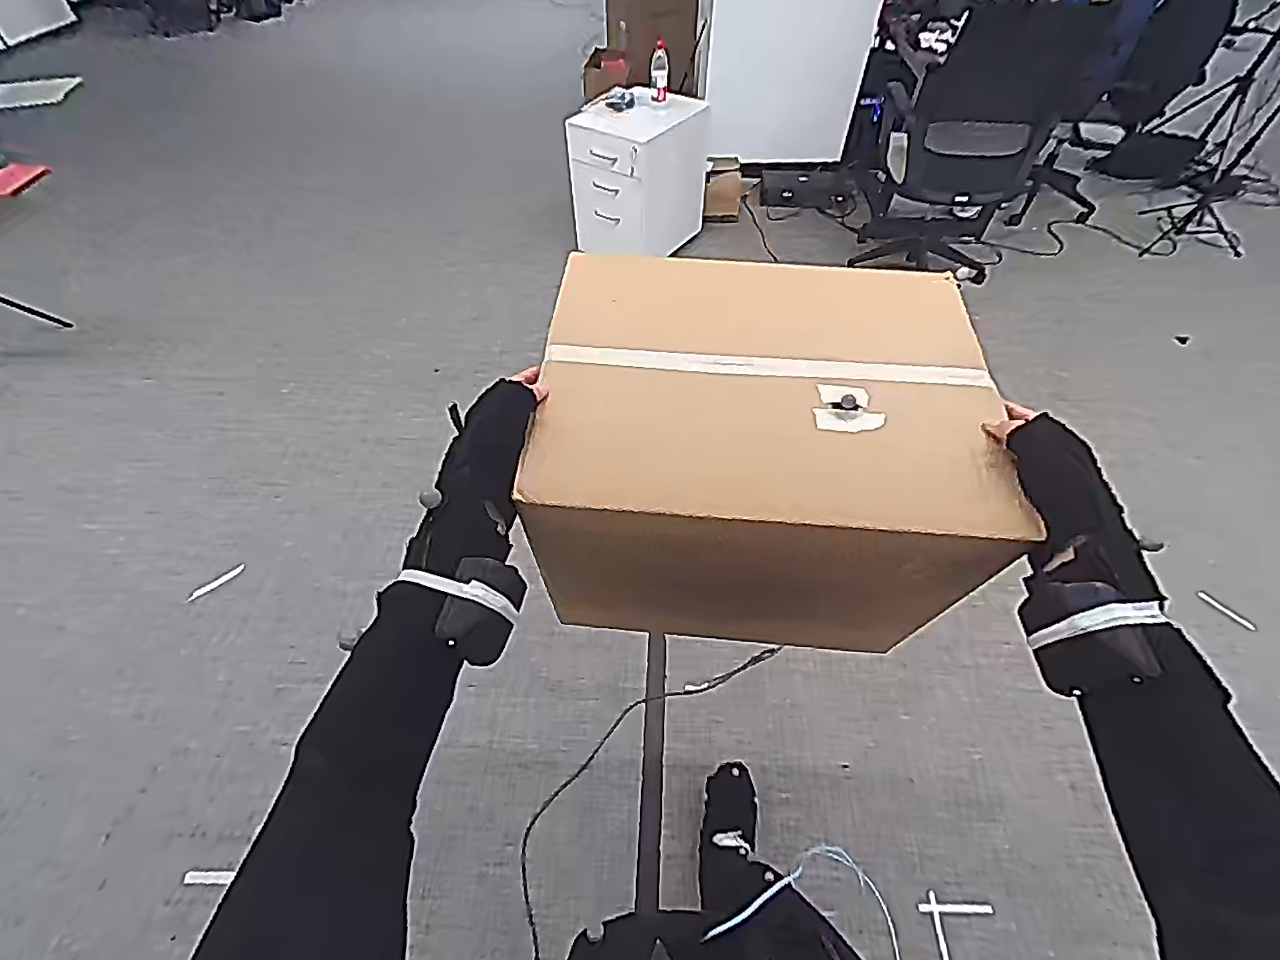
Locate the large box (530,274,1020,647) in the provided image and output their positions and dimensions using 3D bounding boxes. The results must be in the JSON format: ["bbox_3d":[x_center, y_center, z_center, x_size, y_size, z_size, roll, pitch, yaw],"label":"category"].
[{"bbox_3d":[0.114,-0.009,0.638,0.408,0.320,0.320,4,58,2],"label":"large box"}]
